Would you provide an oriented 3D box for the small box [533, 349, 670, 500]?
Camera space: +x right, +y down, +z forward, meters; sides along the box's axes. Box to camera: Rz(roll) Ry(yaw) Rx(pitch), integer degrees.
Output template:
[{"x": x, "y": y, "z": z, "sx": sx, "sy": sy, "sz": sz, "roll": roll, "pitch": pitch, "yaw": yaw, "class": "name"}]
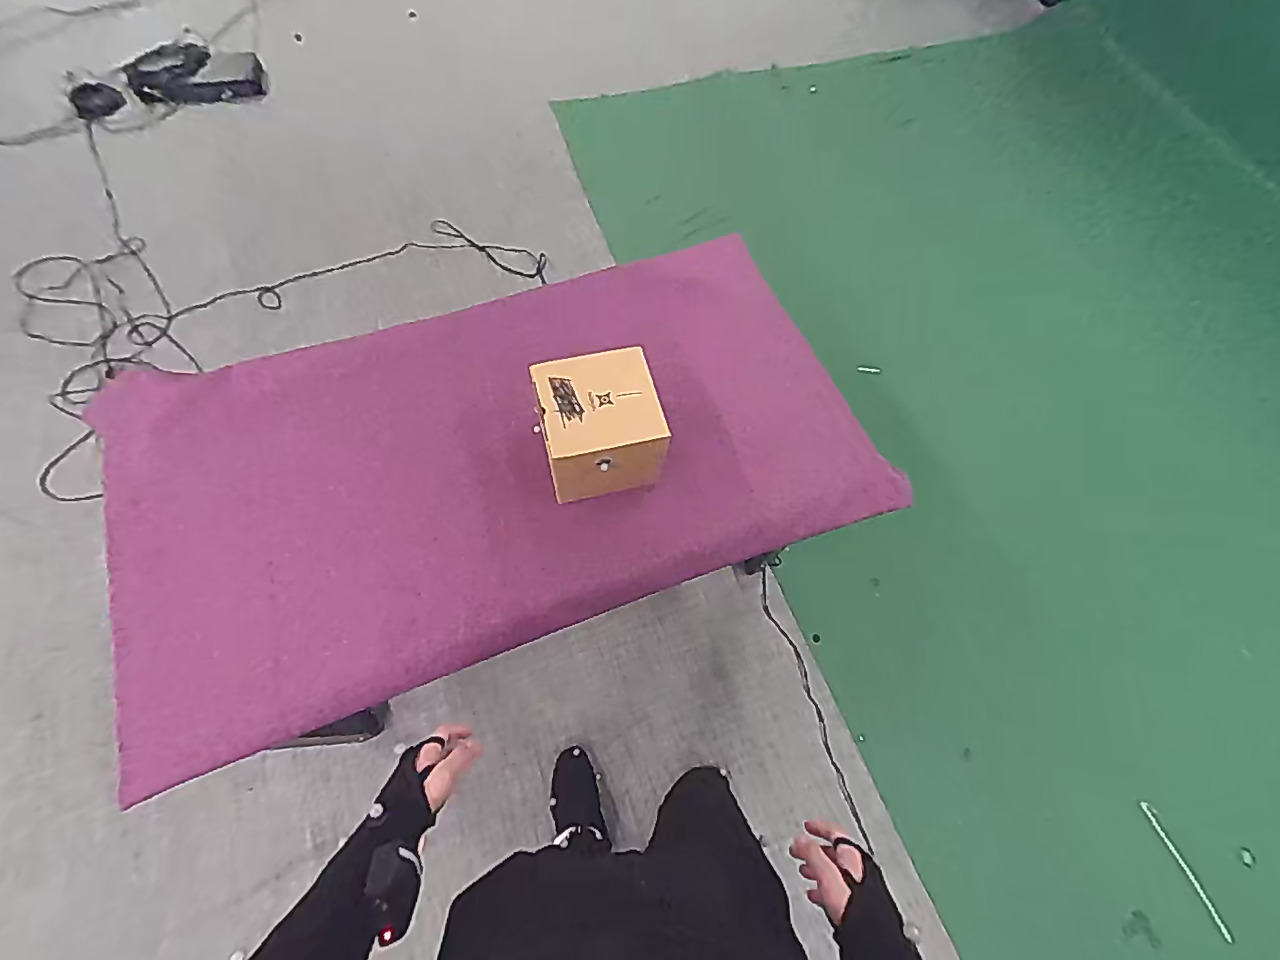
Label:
[{"x": -0.064, "y": -0.081, "z": 0.864, "sx": 0.179, "sy": 0.176, "sz": 0.168, "roll": -11, "pitch": 67, "yaw": -11, "class": "small box"}]
